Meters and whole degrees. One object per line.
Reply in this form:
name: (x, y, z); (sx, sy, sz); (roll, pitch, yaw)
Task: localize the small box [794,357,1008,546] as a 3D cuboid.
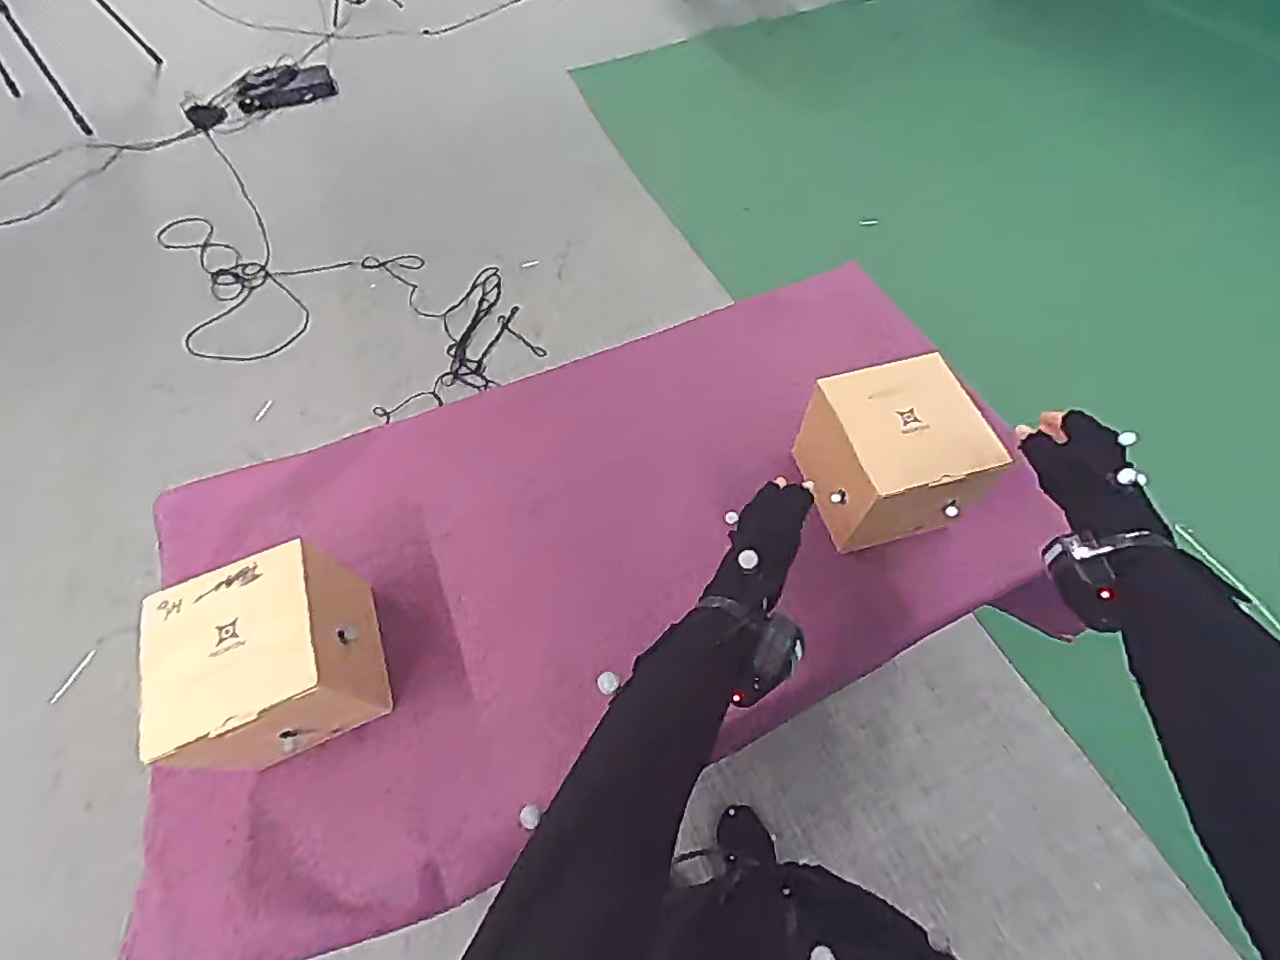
small box: (0.321, -0.027, 0.709); (0.168, 0.176, 0.179); (-13, 60, -4)

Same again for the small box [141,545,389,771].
small box: (-0.411, 0.207, 0.616); (0.168, 0.176, 0.179); (-22, 62, -10)
